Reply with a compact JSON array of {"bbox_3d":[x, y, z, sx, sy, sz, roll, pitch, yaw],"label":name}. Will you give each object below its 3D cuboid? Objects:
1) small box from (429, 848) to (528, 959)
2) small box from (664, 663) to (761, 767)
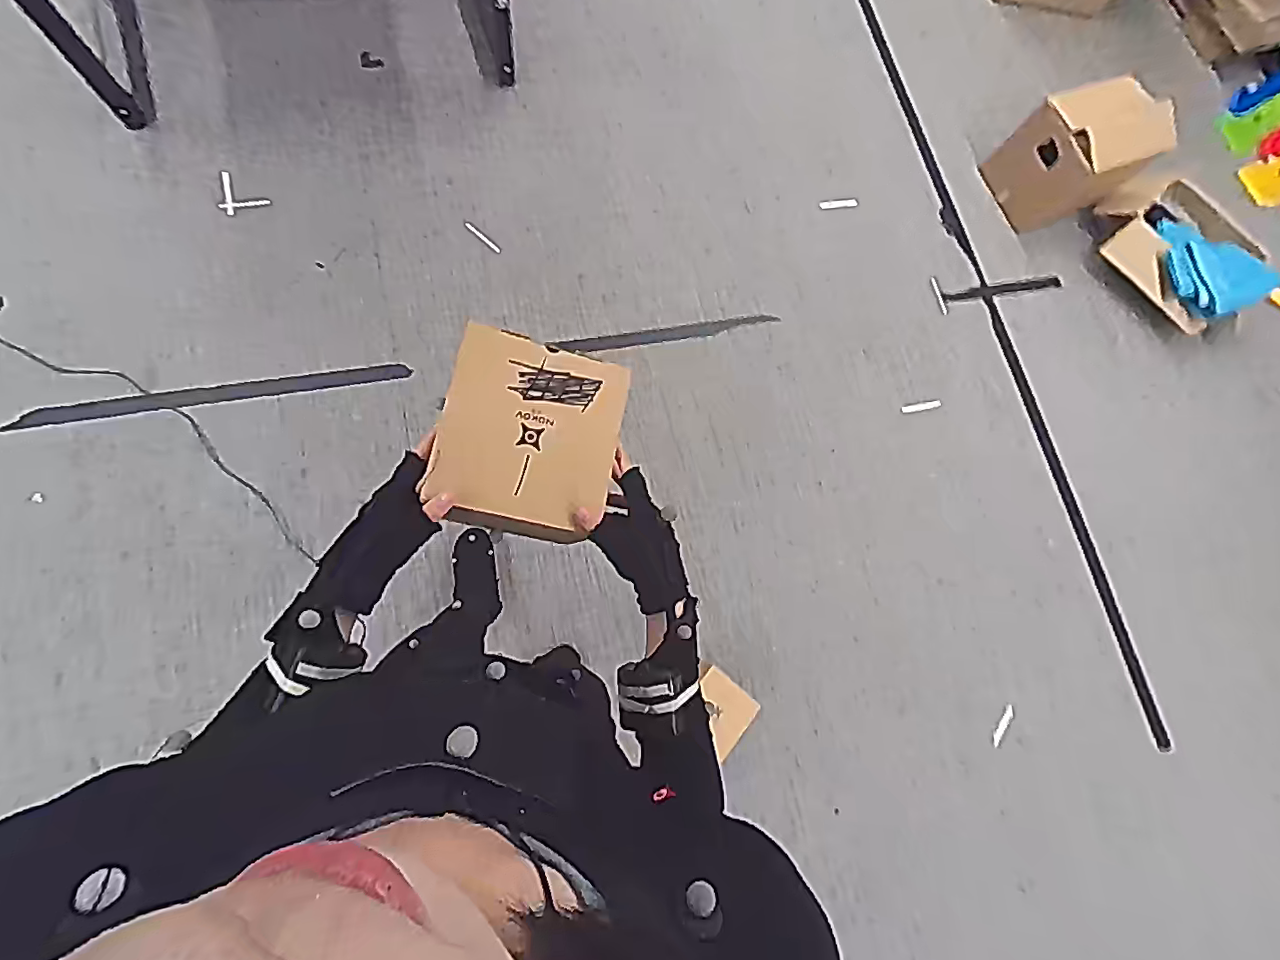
[{"bbox_3d":[-0.364,0.984,1.240,0.168,0.176,0.179,-18,79,-12],"label":"small box"},{"bbox_3d":[0.180,0.605,1.419,0.168,0.176,0.179,41,73,1],"label":"small box"}]
